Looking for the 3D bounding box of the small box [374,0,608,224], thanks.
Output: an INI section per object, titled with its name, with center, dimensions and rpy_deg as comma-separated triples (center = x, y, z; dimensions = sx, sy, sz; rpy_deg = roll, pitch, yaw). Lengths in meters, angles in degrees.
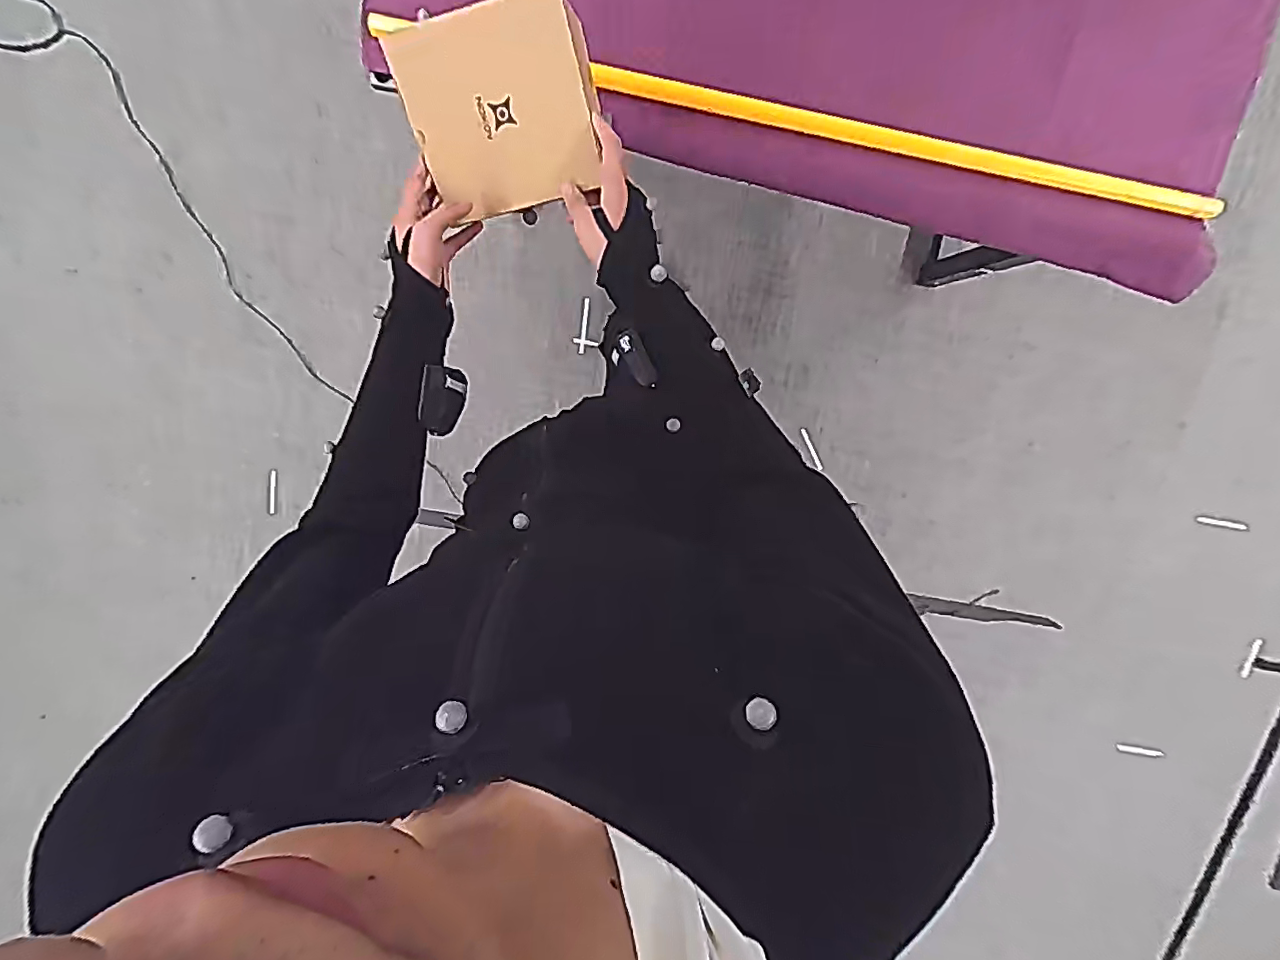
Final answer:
[small box]
center = -0.136, -0.390, 0.579
dimensions = 0.179, 0.176, 0.168
rpy_deg = -10, 119, 9
